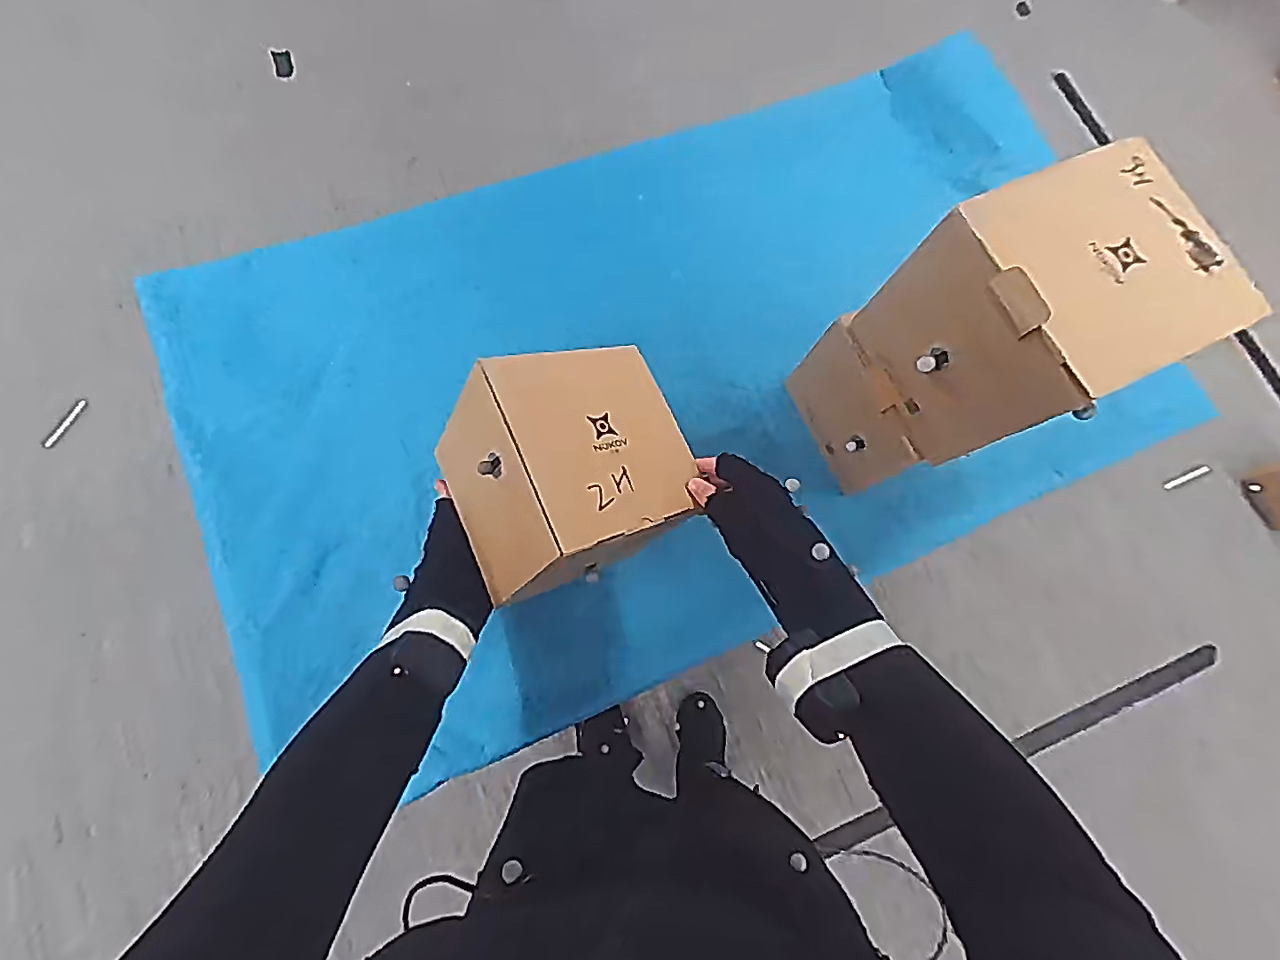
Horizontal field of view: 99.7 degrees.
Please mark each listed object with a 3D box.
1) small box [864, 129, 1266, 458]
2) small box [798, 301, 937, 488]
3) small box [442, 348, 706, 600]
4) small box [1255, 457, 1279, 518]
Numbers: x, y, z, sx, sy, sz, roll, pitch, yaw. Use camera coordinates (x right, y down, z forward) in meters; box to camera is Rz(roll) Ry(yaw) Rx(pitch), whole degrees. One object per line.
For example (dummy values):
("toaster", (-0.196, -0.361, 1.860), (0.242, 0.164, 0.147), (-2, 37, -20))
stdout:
("small box", (0.320, -0.139, 0.456), (0.179, 0.176, 0.168), (-26, 80, -10))
("small box", (0.301, -0.105, 0.614), (0.179, 0.176, 0.168), (-22, 80, -8))
("small box", (-0.074, -0.004, 0.516), (0.168, 0.176, 0.179), (-13, 76, -35))
("small box", (1.795, 0.003, 1.415), (0.179, 0.176, 0.168), (-23, 79, -9))
